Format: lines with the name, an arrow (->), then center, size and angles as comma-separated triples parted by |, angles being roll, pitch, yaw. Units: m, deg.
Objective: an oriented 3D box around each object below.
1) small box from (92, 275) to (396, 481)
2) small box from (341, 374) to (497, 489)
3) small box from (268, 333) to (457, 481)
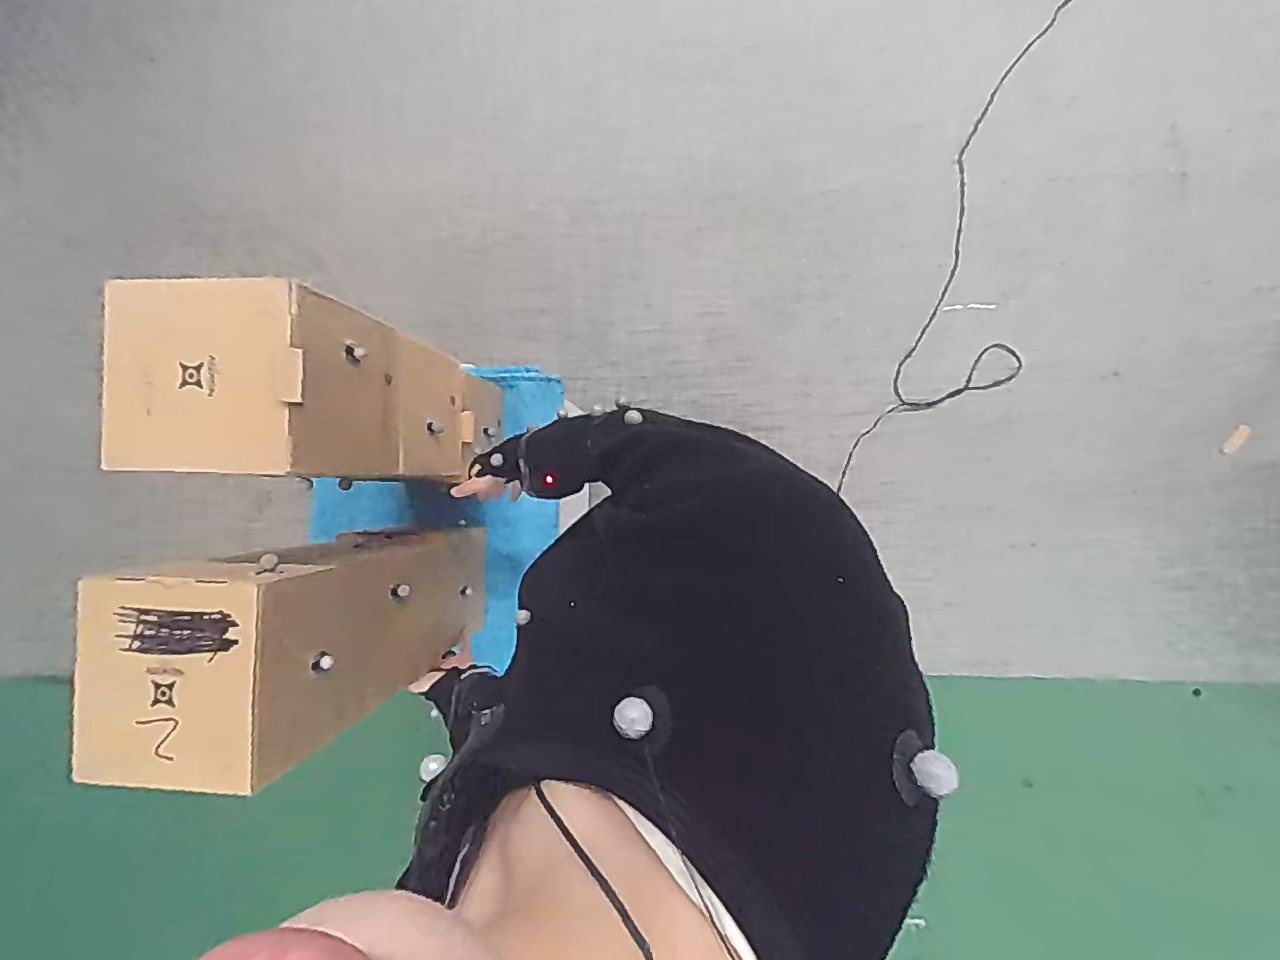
small box -> -0.359, -0.085, 0.521 | 0.179, 0.176, 0.168 | 2, 89, 6
small box -> -0.333, -0.073, 0.846 | 0.179, 0.176, 0.168 | 2, 90, 3
small box -> -0.344, -0.082, 0.684 | 0.179, 0.176, 0.168 | -1, 89, 5
